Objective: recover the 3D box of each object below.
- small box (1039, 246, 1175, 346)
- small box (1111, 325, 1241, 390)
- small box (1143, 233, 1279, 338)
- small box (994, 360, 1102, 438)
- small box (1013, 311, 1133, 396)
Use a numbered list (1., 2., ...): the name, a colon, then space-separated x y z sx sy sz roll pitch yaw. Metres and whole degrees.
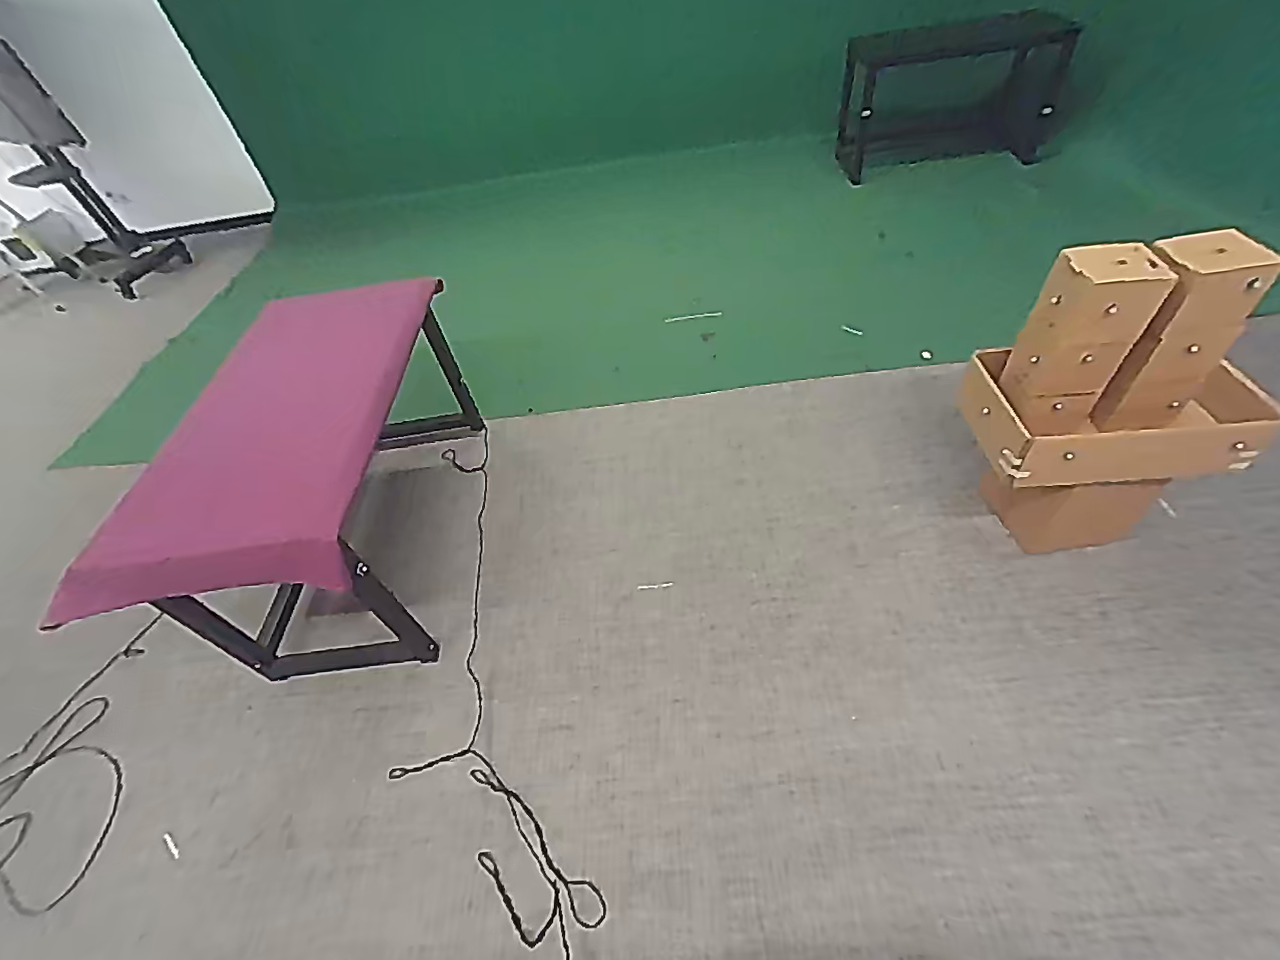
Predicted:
1. small box: 1.109 -0.441 1.308 0.179 0.176 0.168 -1 50 9
2. small box: 1.369 -0.355 1.414 0.179 0.176 0.168 -5 49 8
3. small box: 1.328 -0.462 1.293 0.179 0.176 0.168 -7 47 7
4. small box: 1.157 -0.235 1.558 0.179 0.176 0.168 -3 48 6
5. small box: 1.128 -0.336 1.433 0.179 0.176 0.168 -1 49 7
